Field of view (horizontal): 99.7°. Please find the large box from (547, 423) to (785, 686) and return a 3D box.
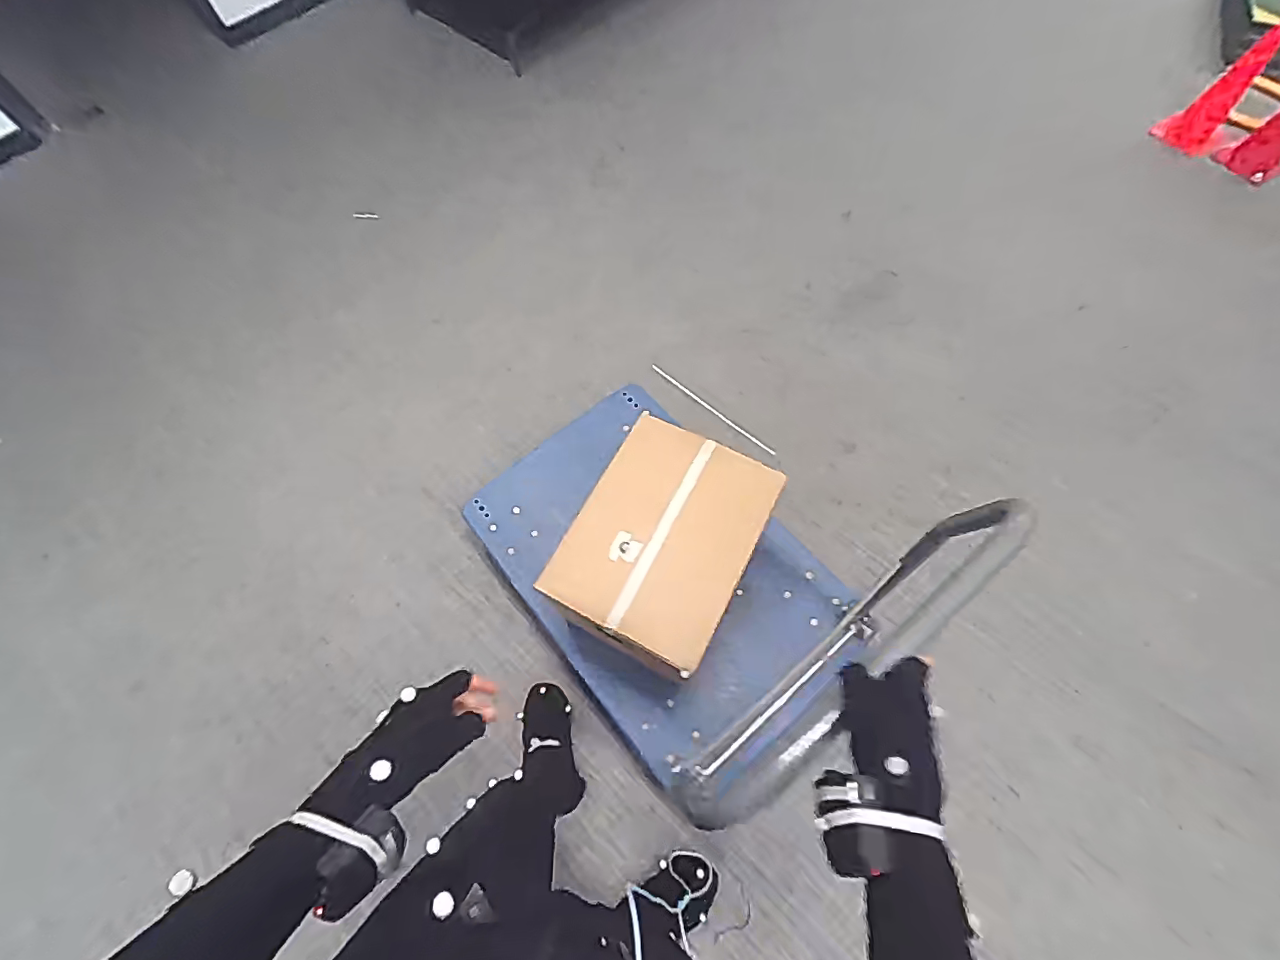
[{"bbox_3d":[0.062,0.164,1.127,0.320,0.320,0.408,24,70,14],"label":"large box"}]
